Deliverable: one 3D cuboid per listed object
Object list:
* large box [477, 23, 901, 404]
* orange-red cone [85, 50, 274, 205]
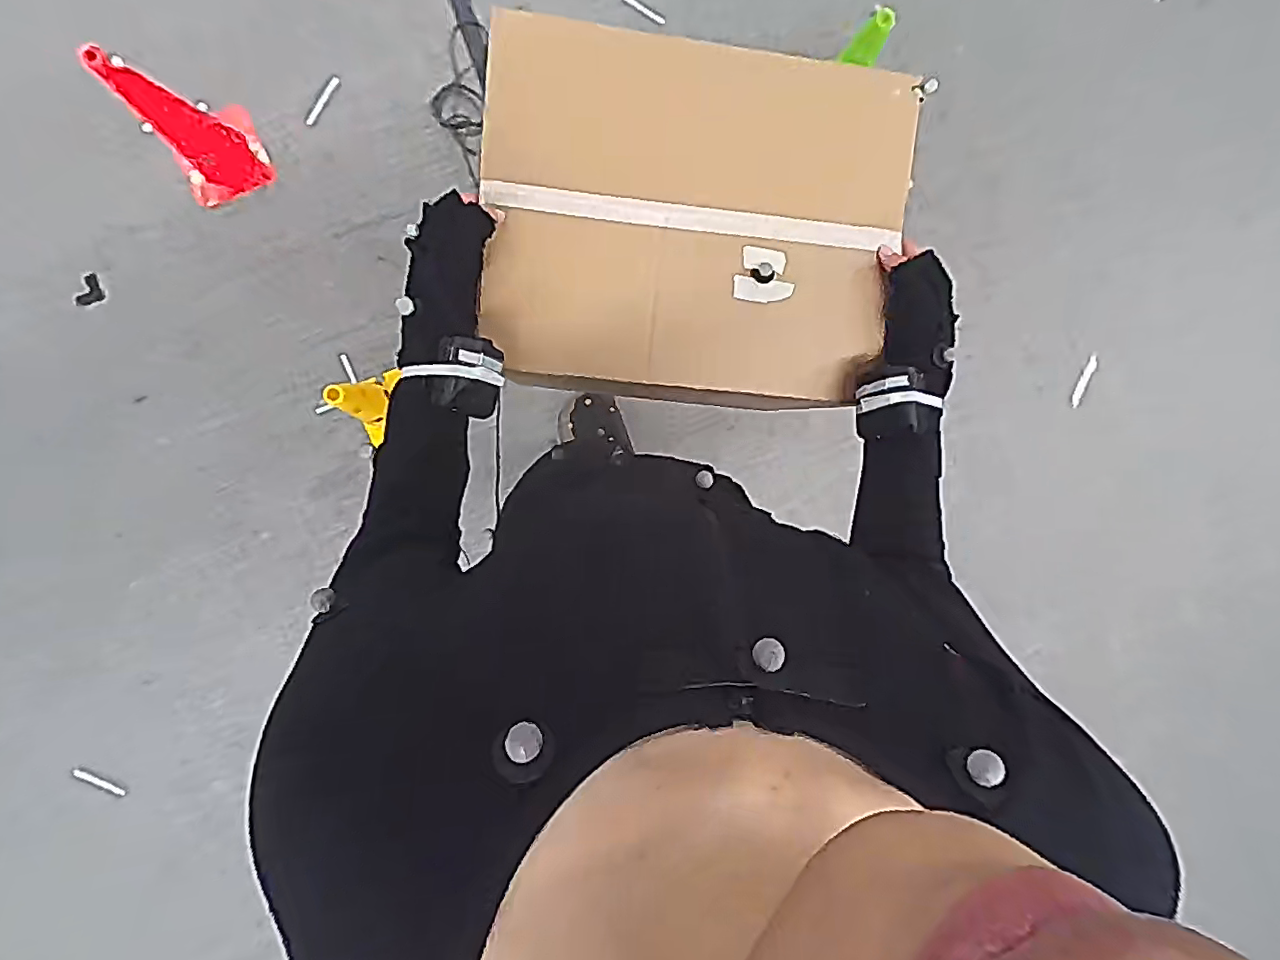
[{"bbox_3d":[0.034,-0.266,0.666,0.408,0.320,0.320,4,96,-6],"label":"large box"},{"bbox_3d":[-1.030,-0.799,1.185,0.198,0.360,0.199,-23,96,-2],"label":"orange-red cone"}]
